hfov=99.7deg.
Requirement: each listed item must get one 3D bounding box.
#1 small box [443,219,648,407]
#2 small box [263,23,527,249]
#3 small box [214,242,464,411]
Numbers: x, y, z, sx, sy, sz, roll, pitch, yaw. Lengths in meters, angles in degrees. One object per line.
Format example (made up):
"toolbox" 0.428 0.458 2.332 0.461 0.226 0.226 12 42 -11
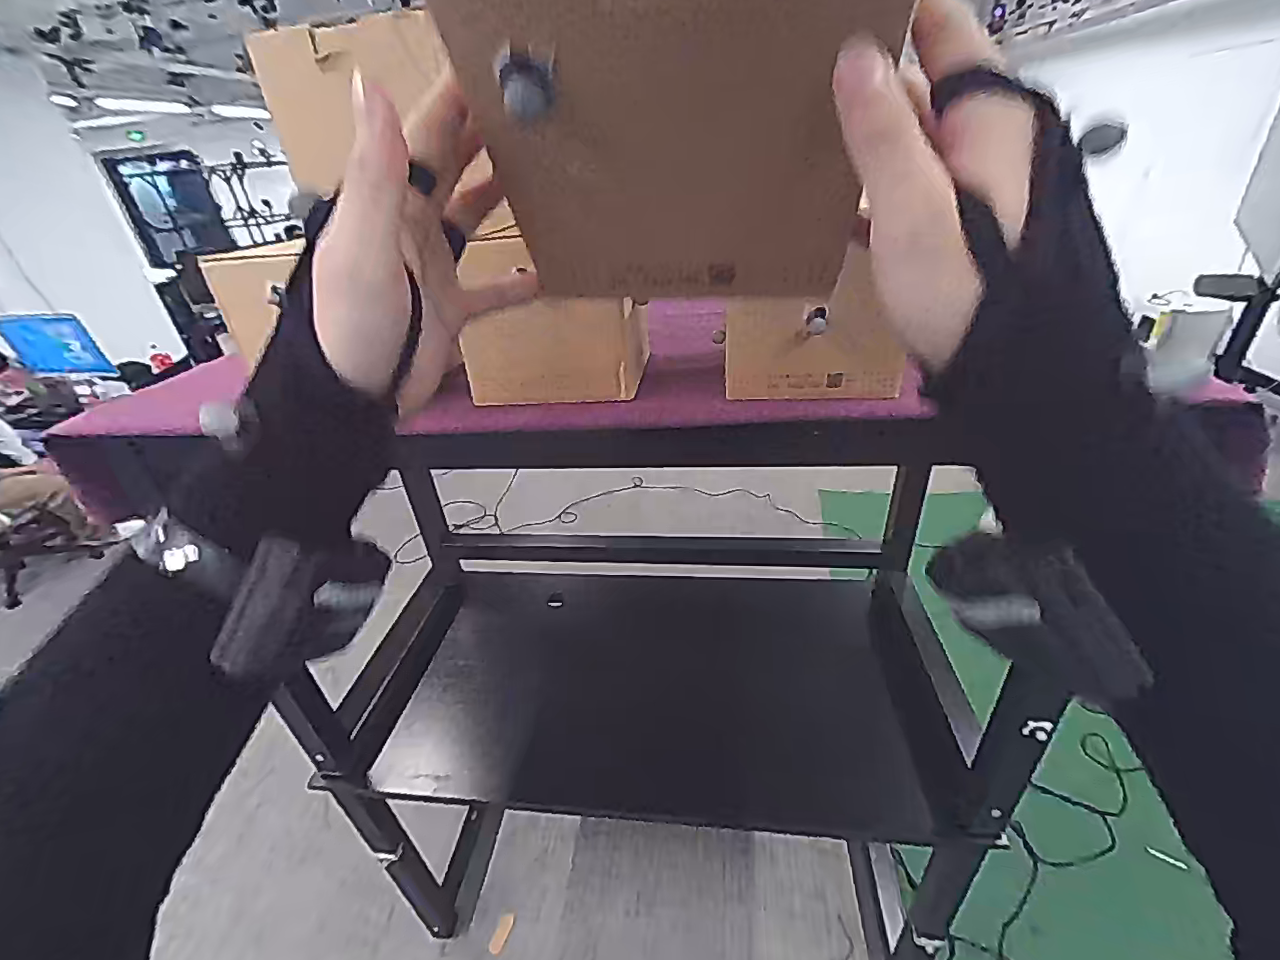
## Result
"small box" -0.087 -0.189 0.612 0.179 0.176 0.168 -1 30 9
"small box" -0.228 -0.338 0.562 0.168 0.176 0.179 0 29 8
"small box" -0.341 -0.190 0.651 0.179 0.176 0.168 3 31 12
